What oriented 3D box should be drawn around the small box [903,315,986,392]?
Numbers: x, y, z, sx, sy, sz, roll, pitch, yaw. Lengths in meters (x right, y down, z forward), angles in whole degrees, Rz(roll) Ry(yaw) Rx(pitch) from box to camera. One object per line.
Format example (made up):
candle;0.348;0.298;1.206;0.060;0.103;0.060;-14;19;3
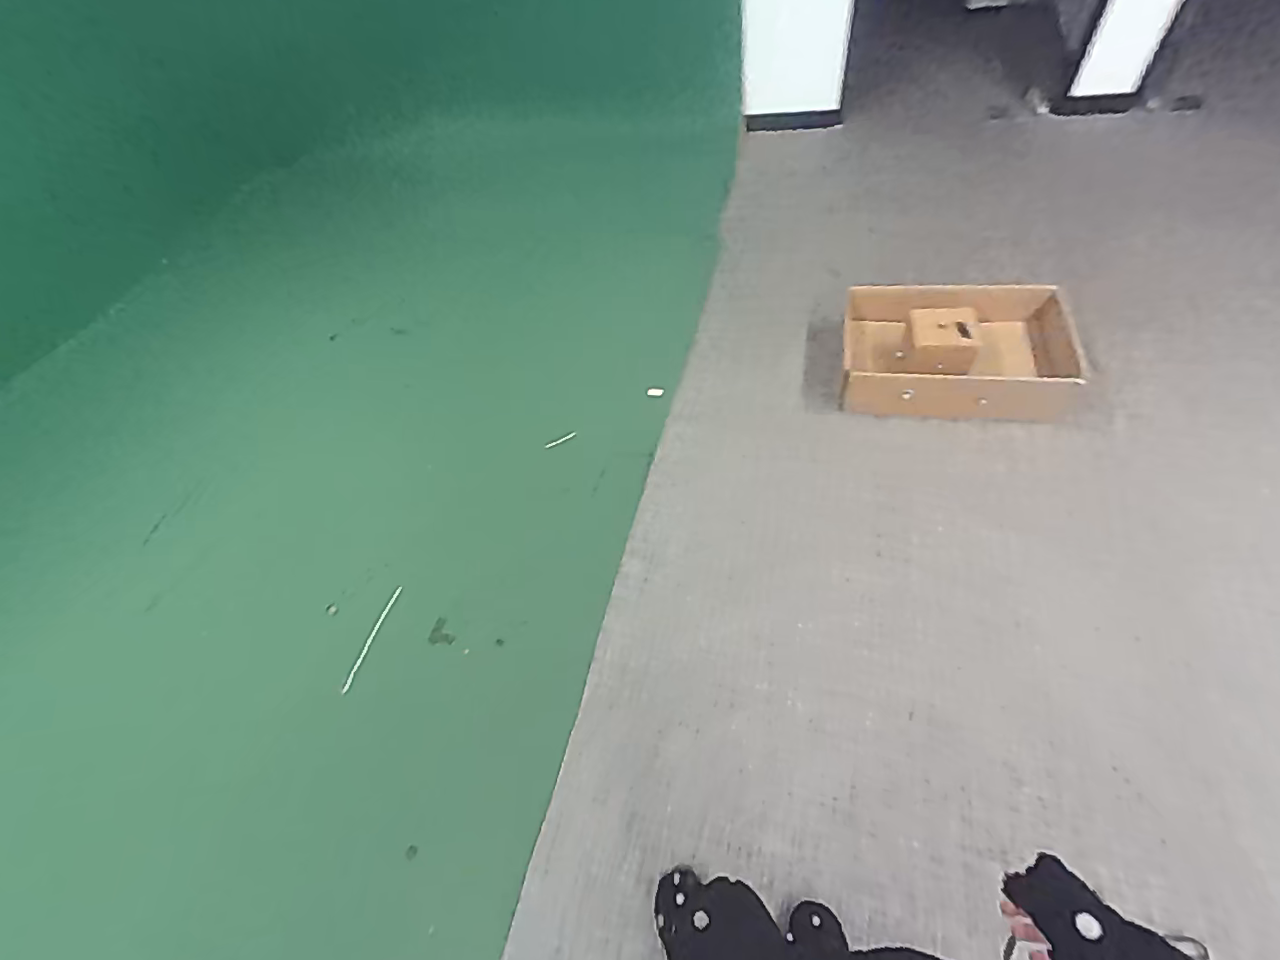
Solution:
small box;0.920;-0.381;1.648;0.179;0.176;0.168;3;56;14
